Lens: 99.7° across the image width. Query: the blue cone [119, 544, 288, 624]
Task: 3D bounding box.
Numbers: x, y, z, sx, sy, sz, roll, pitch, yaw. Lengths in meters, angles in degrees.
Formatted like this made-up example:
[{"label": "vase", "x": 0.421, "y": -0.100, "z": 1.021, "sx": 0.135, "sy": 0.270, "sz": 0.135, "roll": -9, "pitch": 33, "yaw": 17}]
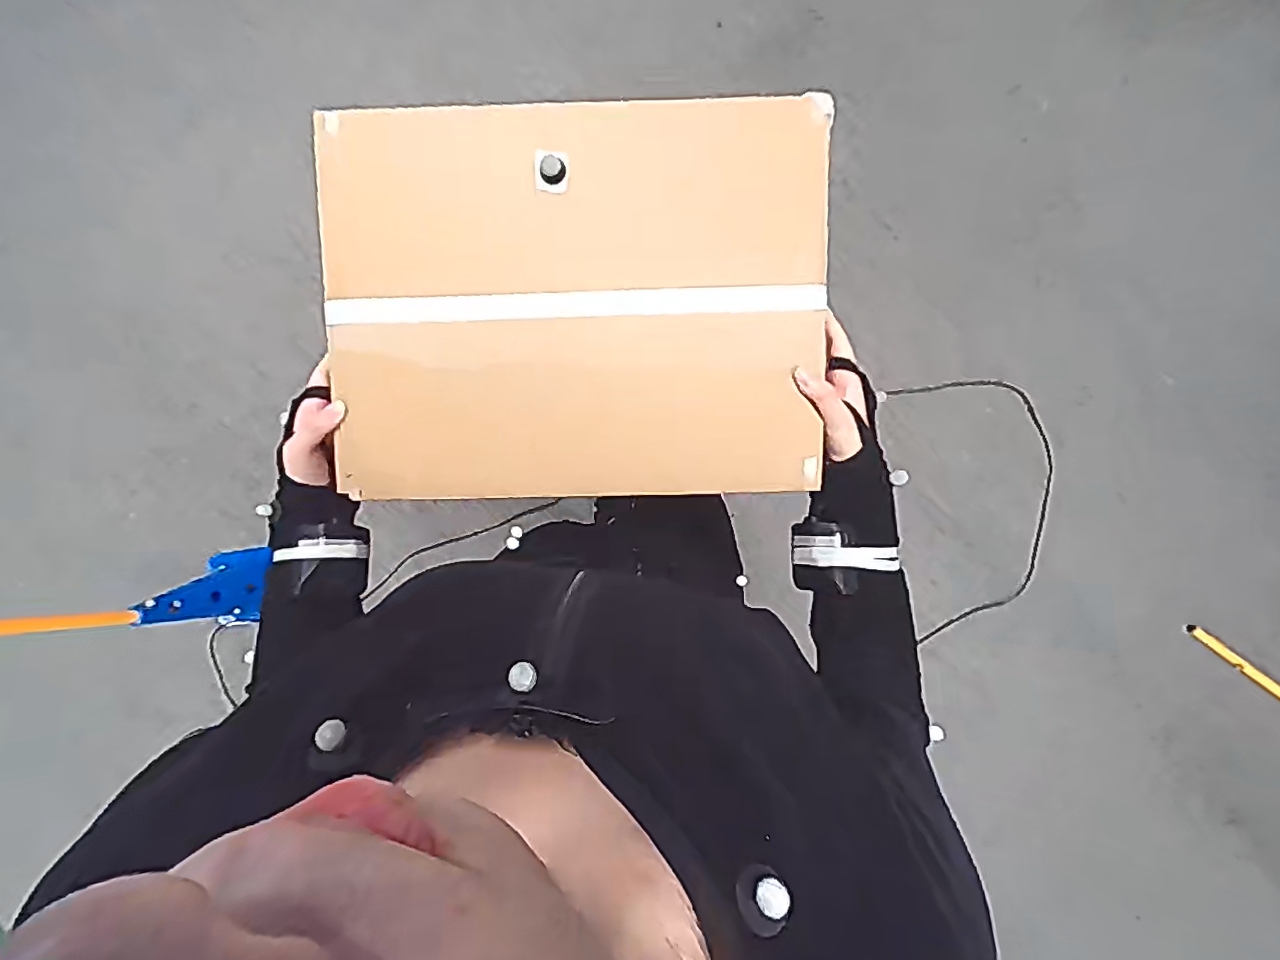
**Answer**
[{"label": "blue cone", "x": -1.038, "y": 0.278, "z": 1.276, "sx": 0.193, "sy": 0.380, "sz": 0.192, "roll": -11, "pitch": 89, "yaw": -1}]
